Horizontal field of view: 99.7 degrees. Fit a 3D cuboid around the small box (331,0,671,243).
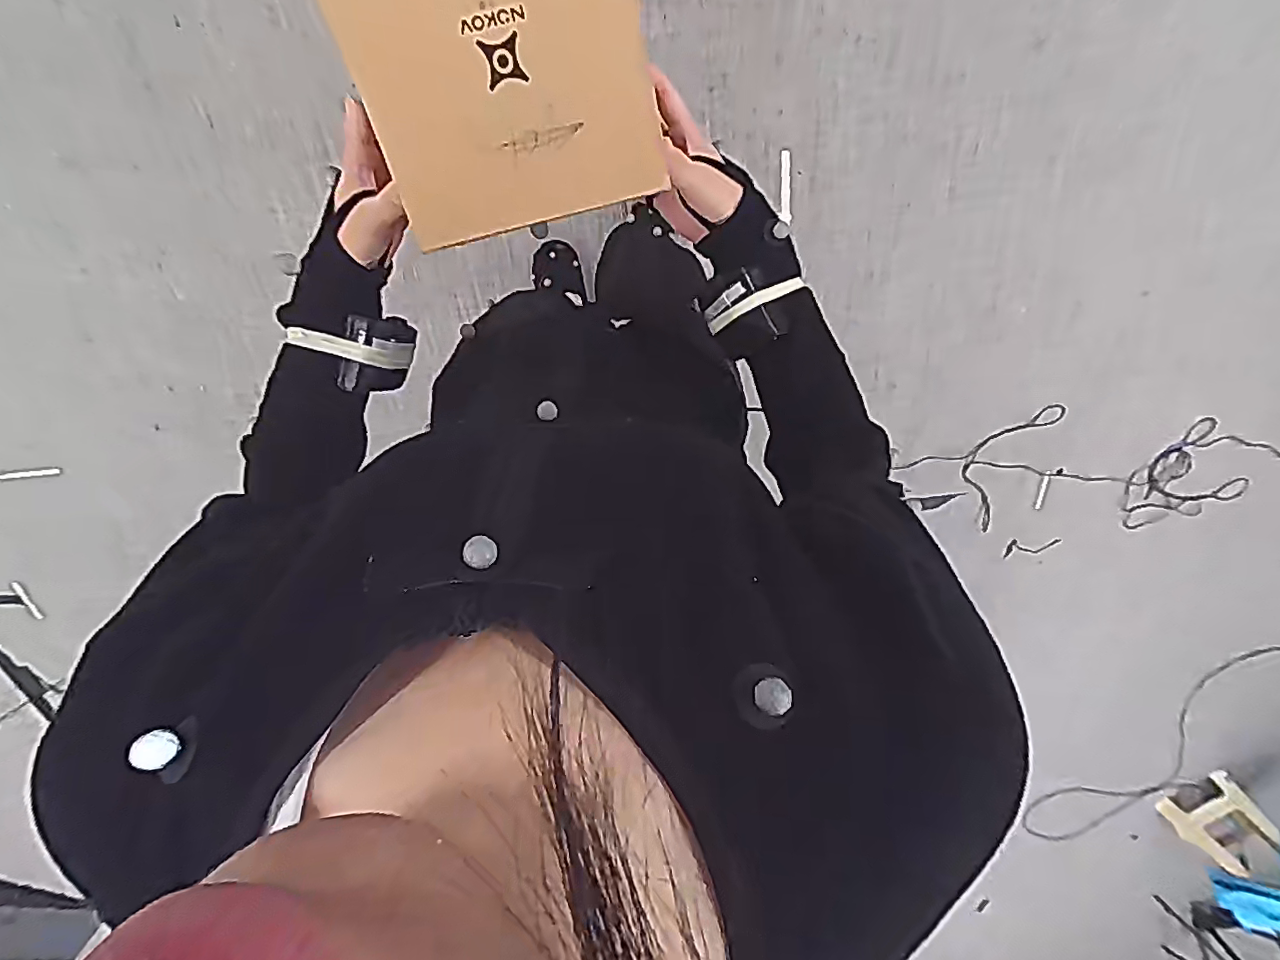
[{"bbox_3d":[-0.087,-0.277,0.368,0.168,0.176,0.179,-14,120,-1],"label":"small box"}]
